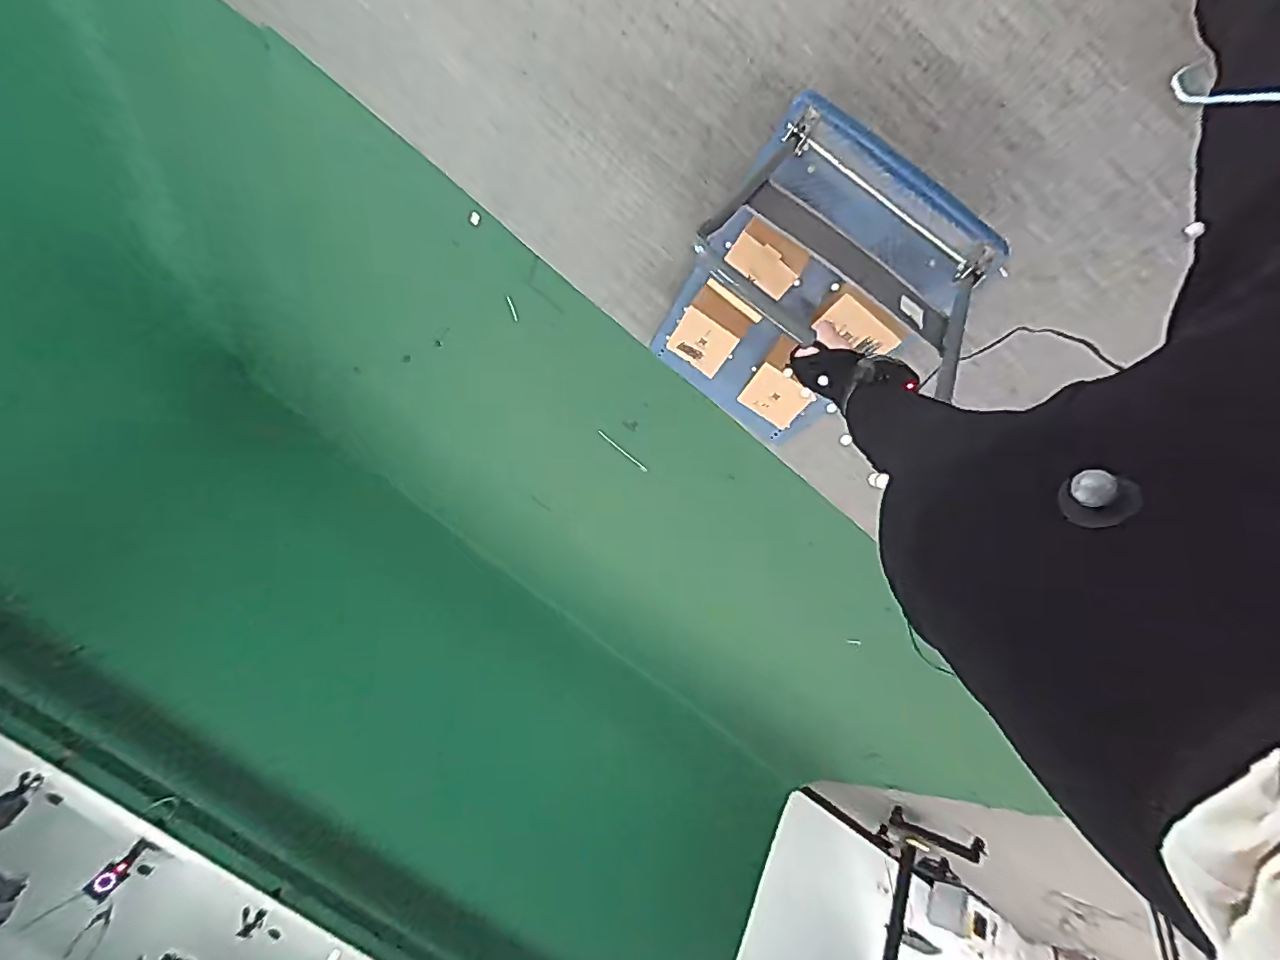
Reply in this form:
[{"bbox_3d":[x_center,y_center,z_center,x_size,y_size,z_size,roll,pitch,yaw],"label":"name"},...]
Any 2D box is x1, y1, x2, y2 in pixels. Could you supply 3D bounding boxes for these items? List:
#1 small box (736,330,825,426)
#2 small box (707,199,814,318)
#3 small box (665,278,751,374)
[{"bbox_3d":[0.409,-0.296,1.553,0.168,0.176,0.179,35,146,0],"label":"small box"},{"bbox_3d":[0.300,-0.545,1.333,0.168,0.176,0.179,37,146,-5],"label":"small box"},{"bbox_3d":[0.201,-0.444,1.537,0.168,0.176,0.179,34,146,-3],"label":"small box"}]
